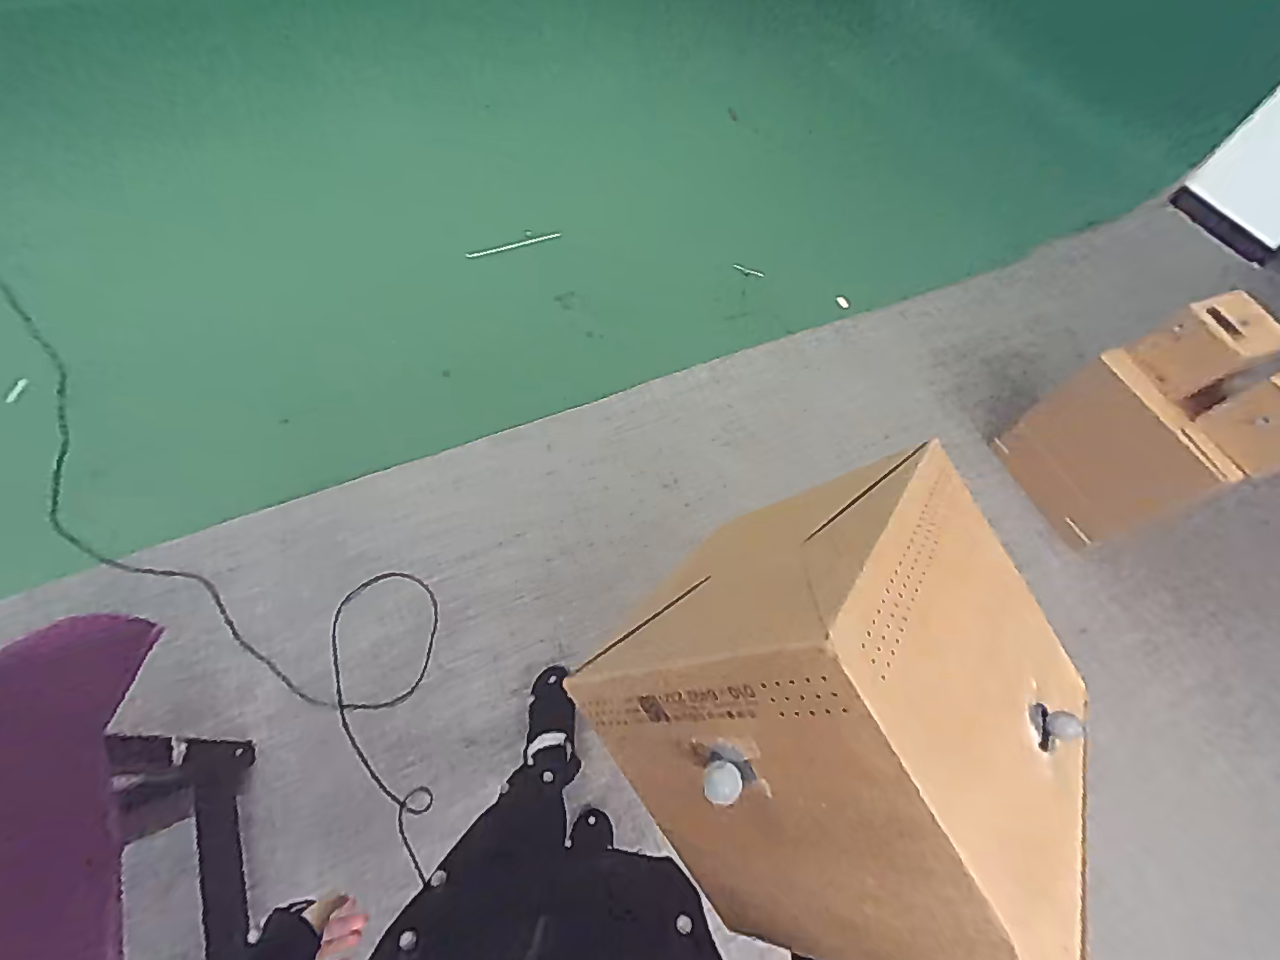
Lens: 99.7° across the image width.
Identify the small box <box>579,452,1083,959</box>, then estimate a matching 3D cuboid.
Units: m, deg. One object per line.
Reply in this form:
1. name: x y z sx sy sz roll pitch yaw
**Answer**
1. small box: 0.104 0.106 0.295 0.179 0.168 0.176 -34 93 -45
